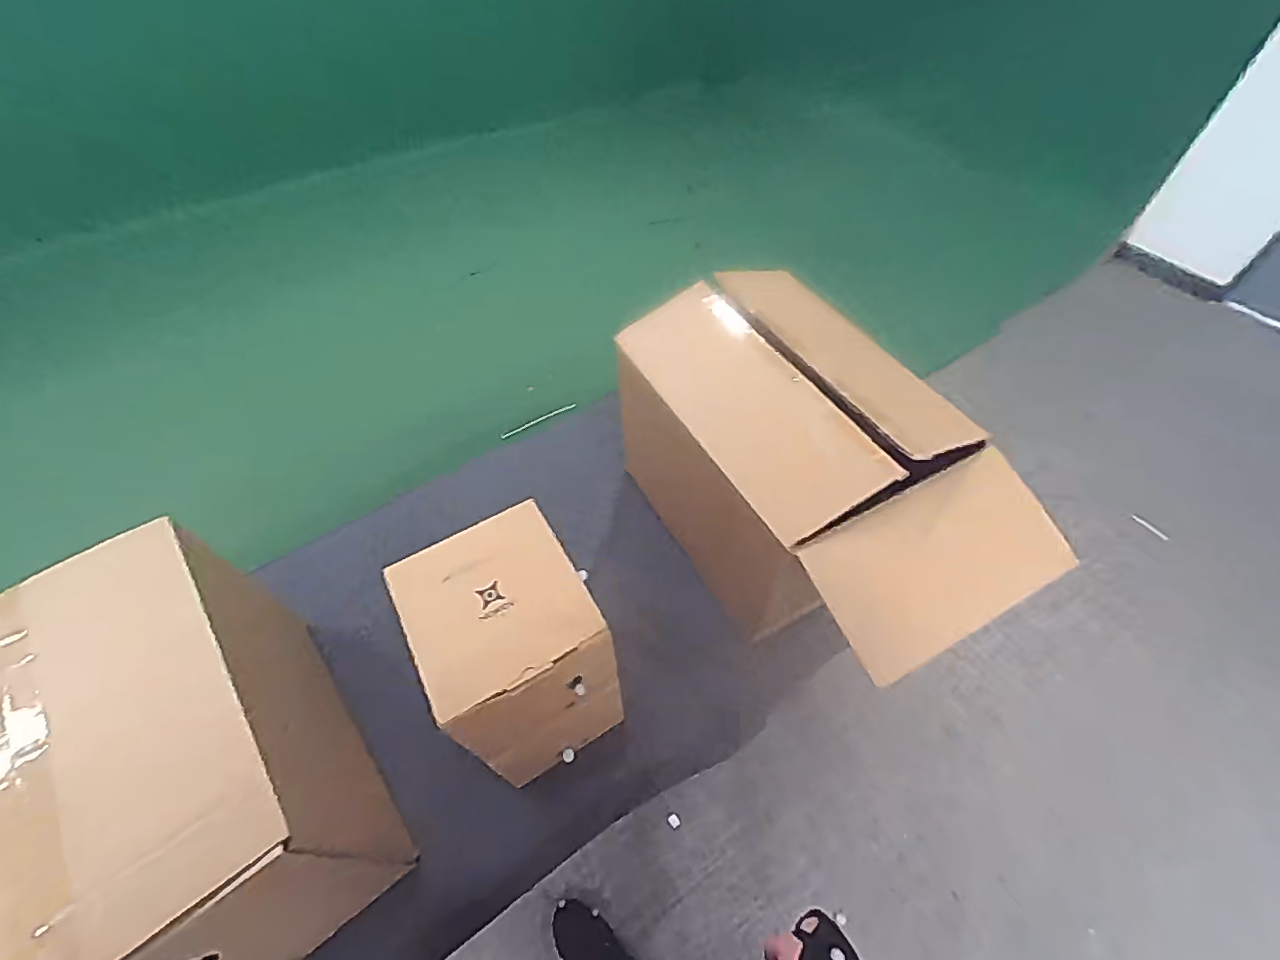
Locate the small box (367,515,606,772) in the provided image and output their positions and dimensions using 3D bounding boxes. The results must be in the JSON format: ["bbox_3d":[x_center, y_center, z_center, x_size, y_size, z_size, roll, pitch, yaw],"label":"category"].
[{"bbox_3d":[-0.146,0.175,0.560,0.168,0.176,0.179,-27,58,-18],"label":"small box"}]
